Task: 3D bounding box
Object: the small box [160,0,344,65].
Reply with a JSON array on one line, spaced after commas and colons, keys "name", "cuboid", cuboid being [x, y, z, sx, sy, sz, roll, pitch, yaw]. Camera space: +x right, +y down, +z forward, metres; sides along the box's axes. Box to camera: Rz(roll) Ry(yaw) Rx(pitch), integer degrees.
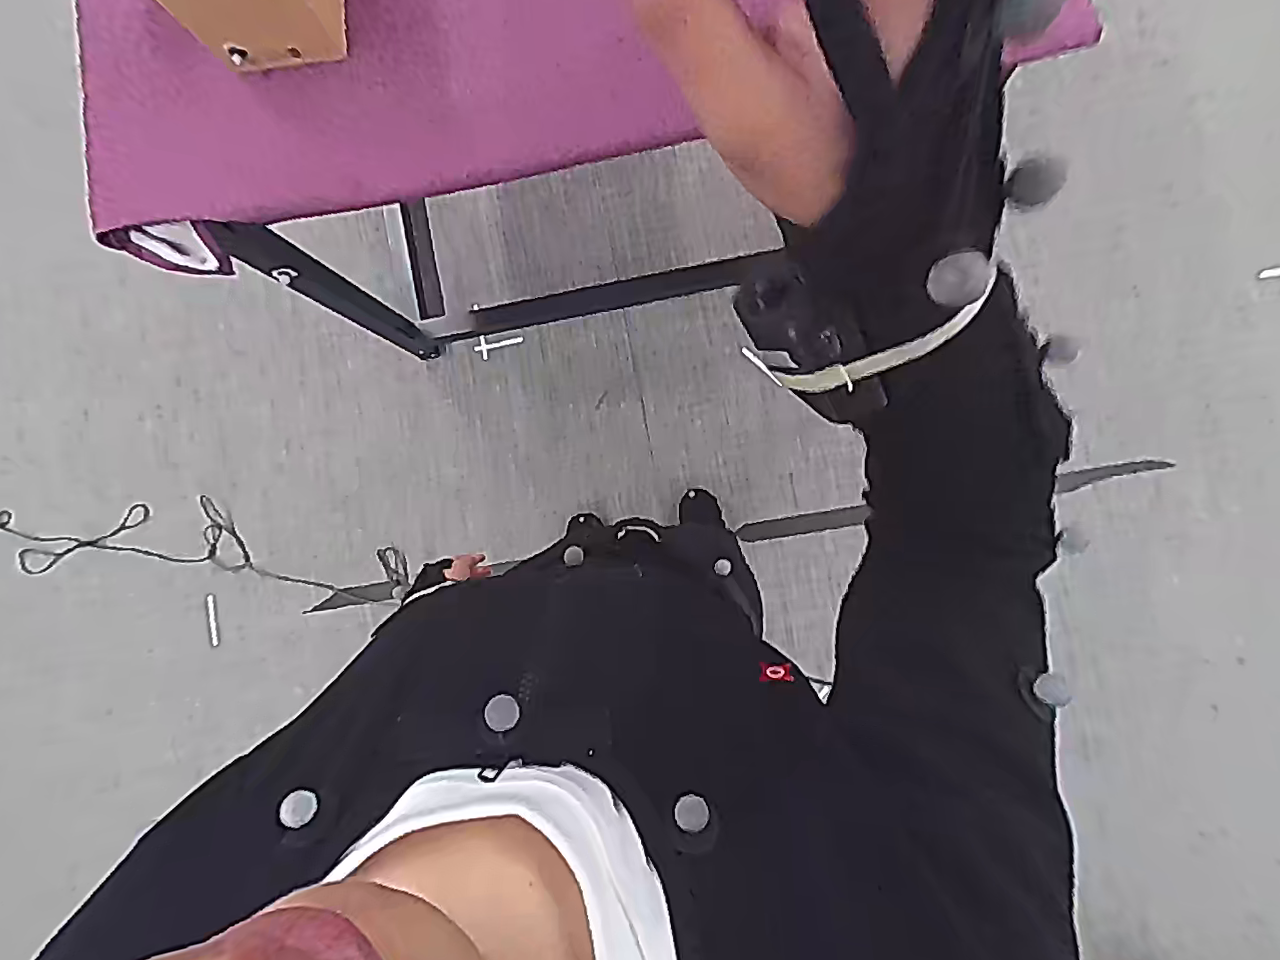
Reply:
[{"name": "small box", "cuboid": [-0.486, -0.646, 0.656, 0.168, 0.176, 0.179, -4, 87, 4]}]
